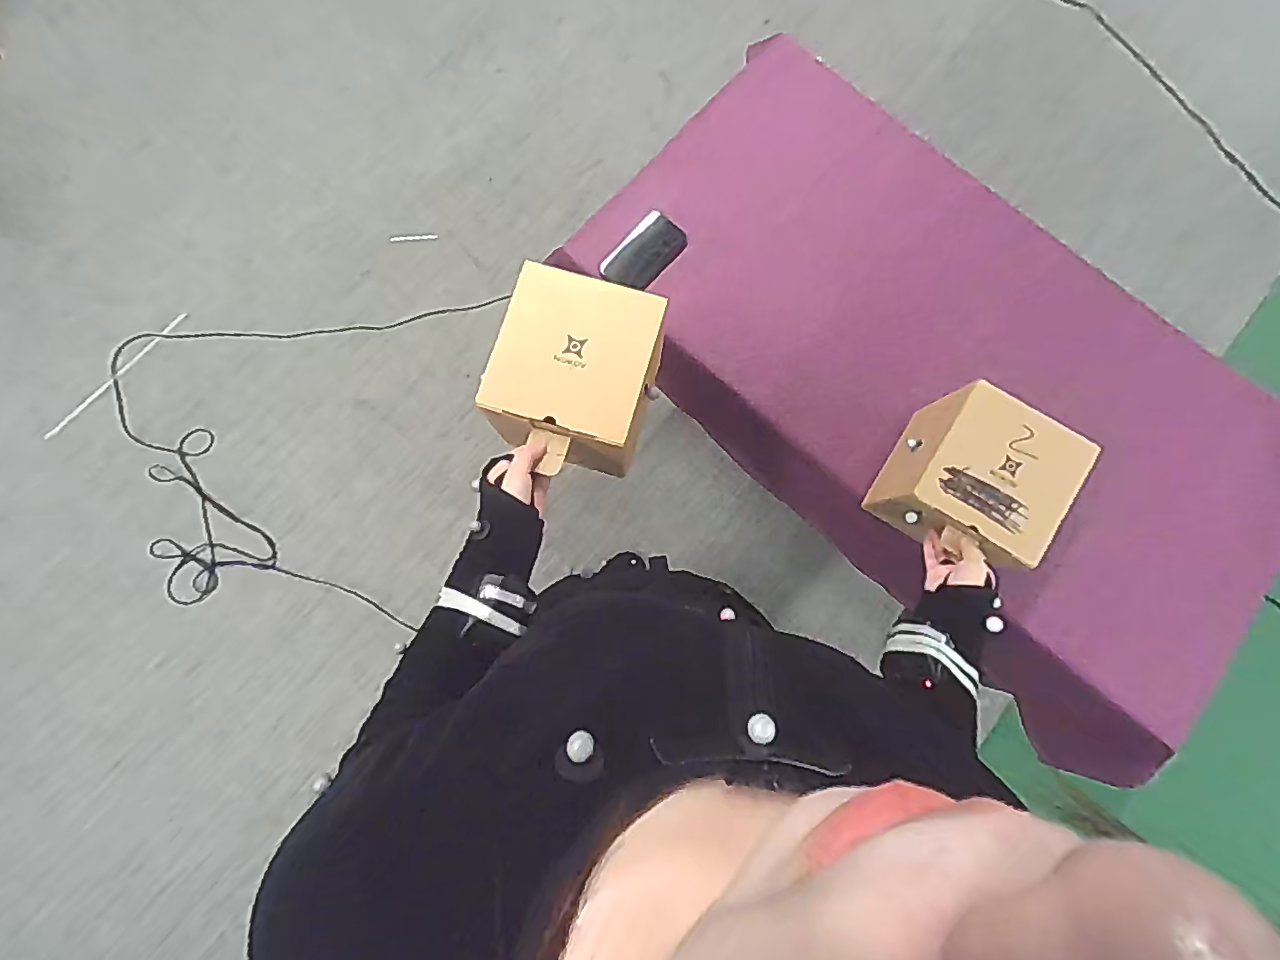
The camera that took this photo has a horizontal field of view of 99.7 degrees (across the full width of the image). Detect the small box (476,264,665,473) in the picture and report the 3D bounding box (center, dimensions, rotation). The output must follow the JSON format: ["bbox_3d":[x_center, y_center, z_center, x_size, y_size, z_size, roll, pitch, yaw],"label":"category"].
[{"bbox_3d":[-0.076,-0.123,0.662,0.168,0.176,0.179,16,80,1],"label":"small box"}]
